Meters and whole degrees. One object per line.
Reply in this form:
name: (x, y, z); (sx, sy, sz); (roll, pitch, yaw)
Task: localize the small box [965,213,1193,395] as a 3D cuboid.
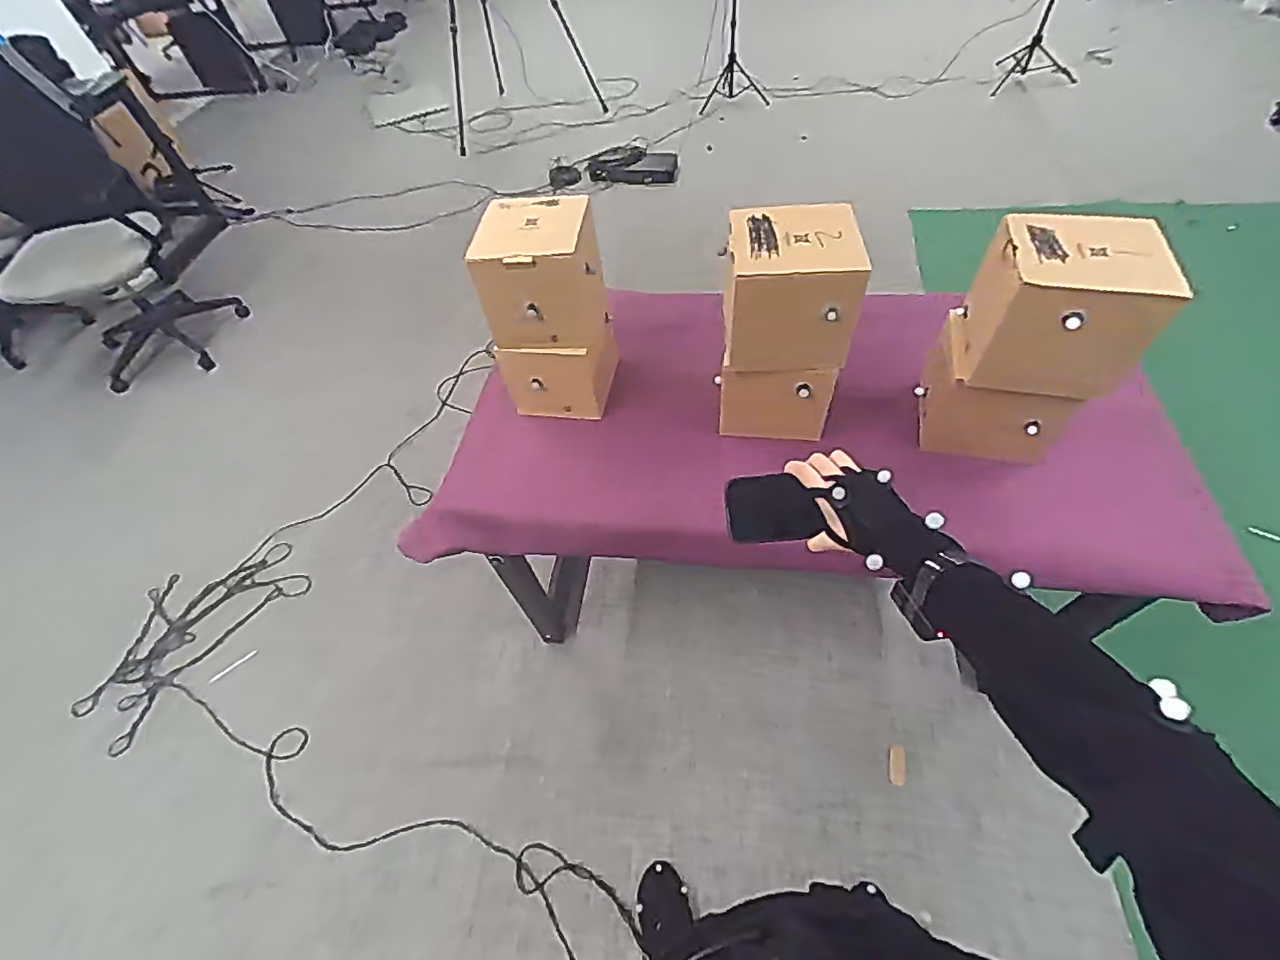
small box: (0.558, -0.233, 0.724); (0.179, 0.176, 0.168); (9, 55, 13)

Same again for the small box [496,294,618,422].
small box: (-0.143, -0.227, 1.015); (0.168, 0.176, 0.179); (5, 54, 11)

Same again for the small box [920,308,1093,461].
small box: (0.569, -0.148, 0.865); (0.179, 0.176, 0.168); (9, 55, 14)

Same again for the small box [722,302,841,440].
small box: (0.237, -0.184, 0.932); (0.179, 0.176, 0.168); (4, 54, 10)

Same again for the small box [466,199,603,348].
small box: (-0.159, -0.332, 0.889); (0.168, 0.176, 0.179); (1, 54, 7)
